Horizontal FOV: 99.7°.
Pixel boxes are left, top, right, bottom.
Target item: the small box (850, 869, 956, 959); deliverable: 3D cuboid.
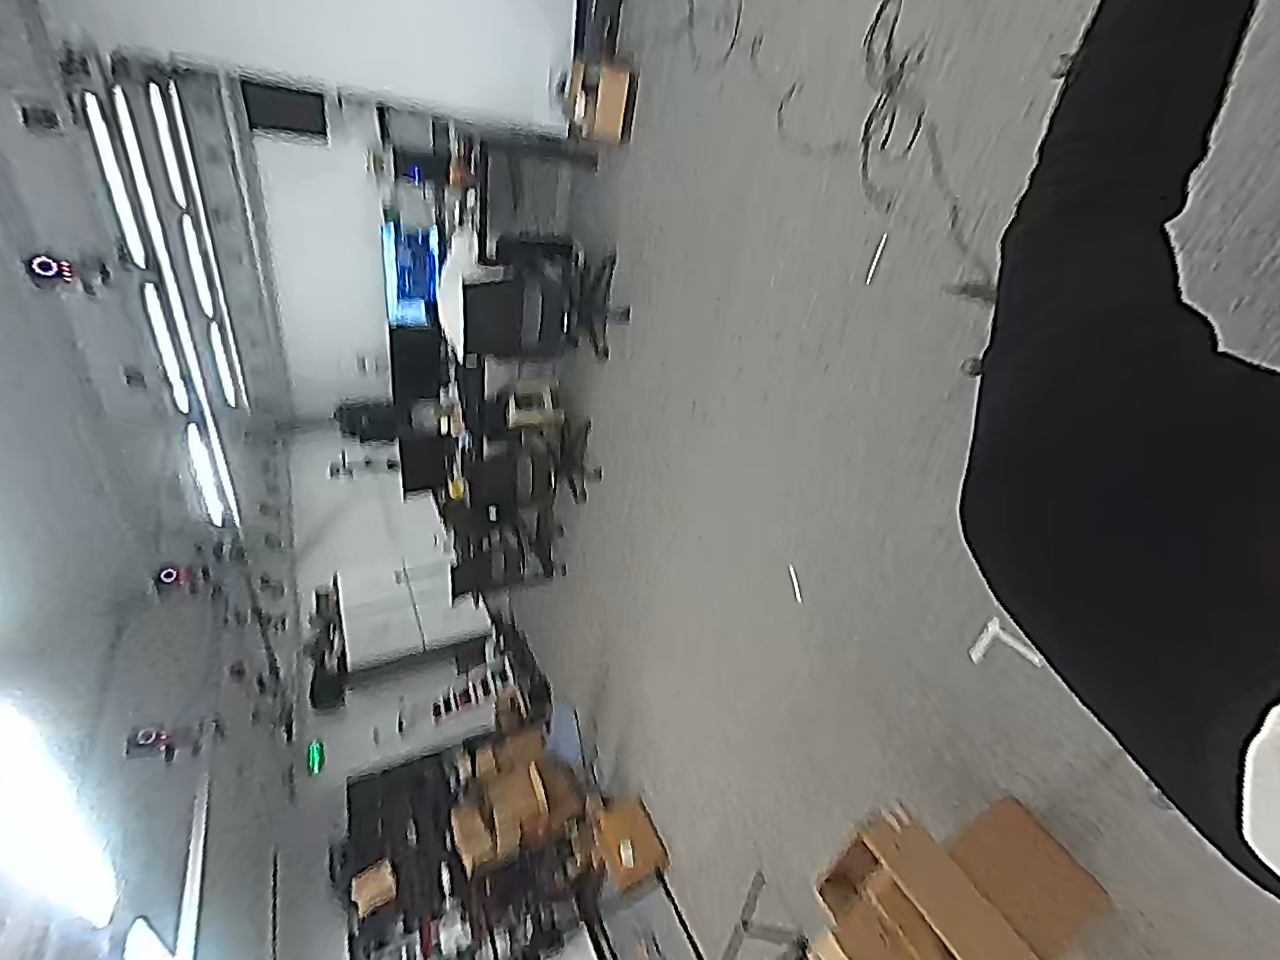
[{"bbox_3d":[0.723,1.222,1.485,0.168,0.176,0.179,48,137,42],"label":"small box"}]
